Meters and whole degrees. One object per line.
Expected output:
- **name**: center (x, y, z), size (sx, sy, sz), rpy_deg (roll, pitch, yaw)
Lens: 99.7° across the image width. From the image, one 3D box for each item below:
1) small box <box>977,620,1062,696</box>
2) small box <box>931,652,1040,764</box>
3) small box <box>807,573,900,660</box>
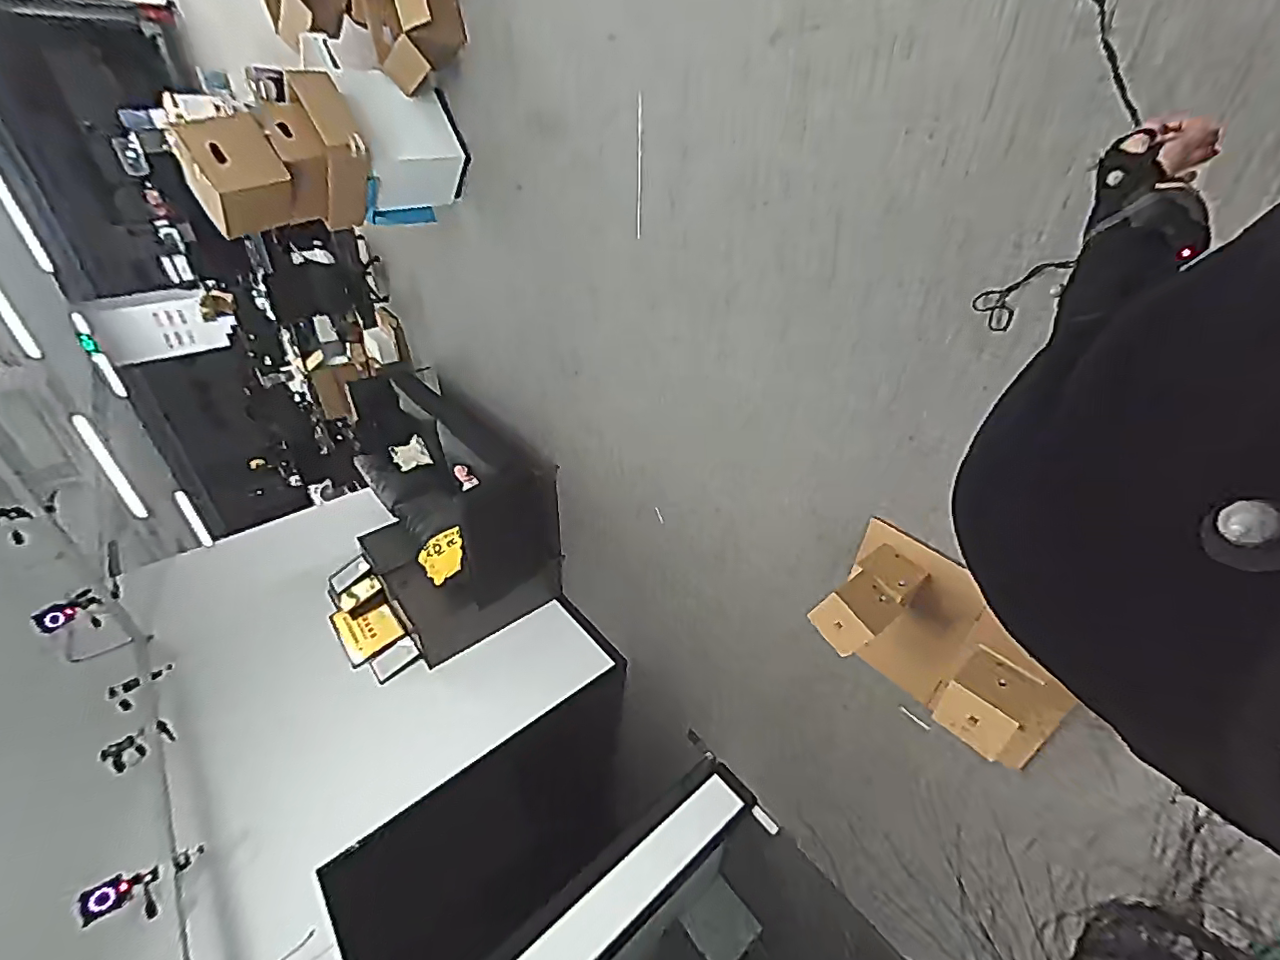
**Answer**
- **small box**: center (1.037, 0.527, 1.511), size (0.168, 0.176, 0.179), rpy_deg (34, 137, 39)
- **small box**: center (0.912, 0.592, 1.425), size (0.168, 0.176, 0.179), rpy_deg (35, 137, 39)
- **small box**: center (0.659, 0.417, 1.666), size (0.168, 0.176, 0.179), rpy_deg (51, 145, 22)
